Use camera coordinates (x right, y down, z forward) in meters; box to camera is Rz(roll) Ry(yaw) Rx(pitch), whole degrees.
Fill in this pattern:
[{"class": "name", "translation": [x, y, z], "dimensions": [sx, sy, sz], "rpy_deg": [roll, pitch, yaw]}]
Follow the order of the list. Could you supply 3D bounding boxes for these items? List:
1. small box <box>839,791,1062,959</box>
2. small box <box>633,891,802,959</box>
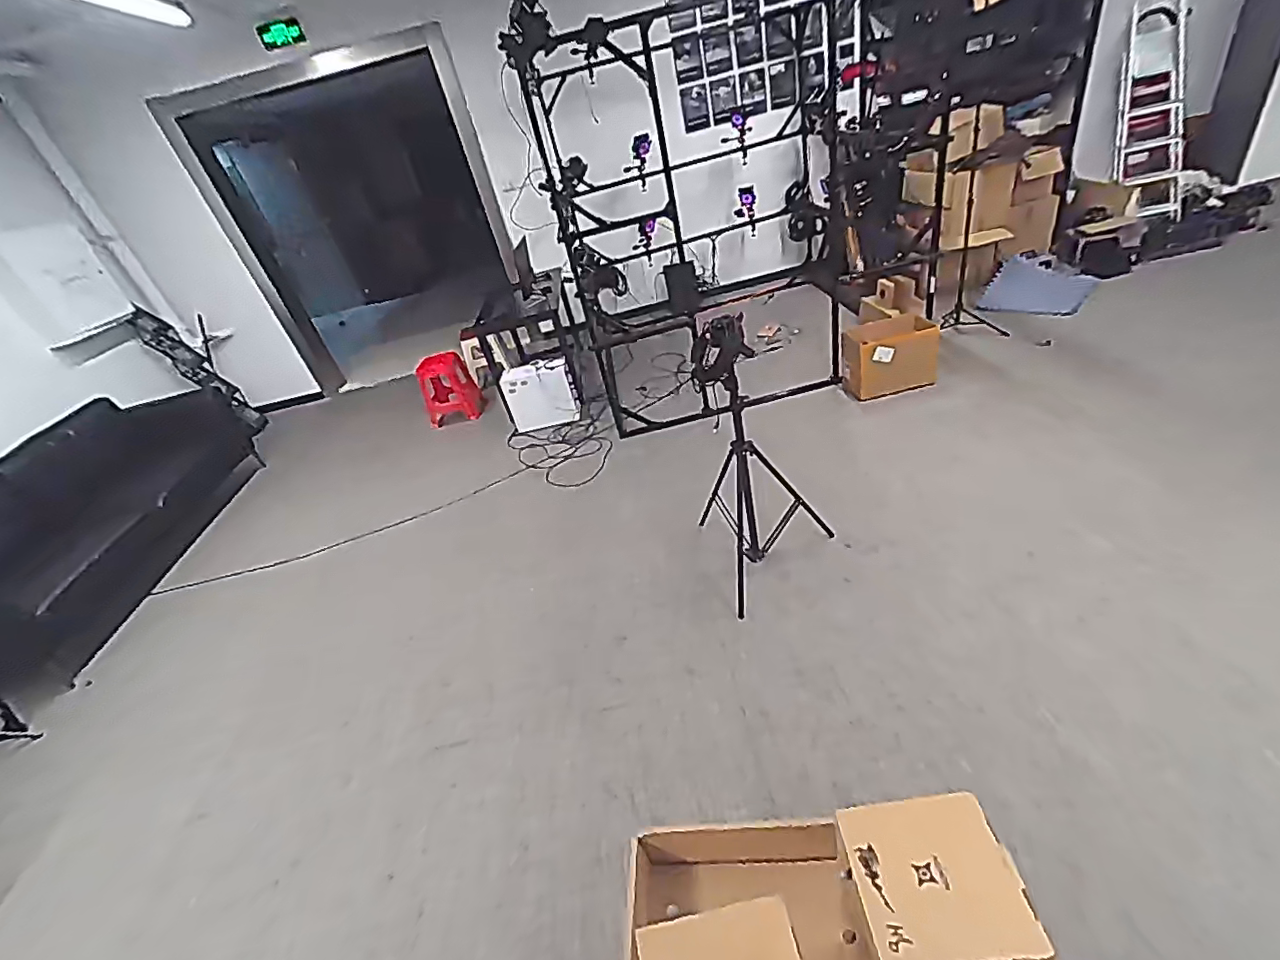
[{"class": "small box", "translation": [0.351, 0.510, 0.654], "dimensions": [0.179, 0.176, 0.168], "rpy_deg": [-11, 32, 6]}, {"class": "small box", "translation": [0.097, 0.592, 0.604], "dimensions": [0.179, 0.176, 0.168], "rpy_deg": [-10, 45, -5]}]
